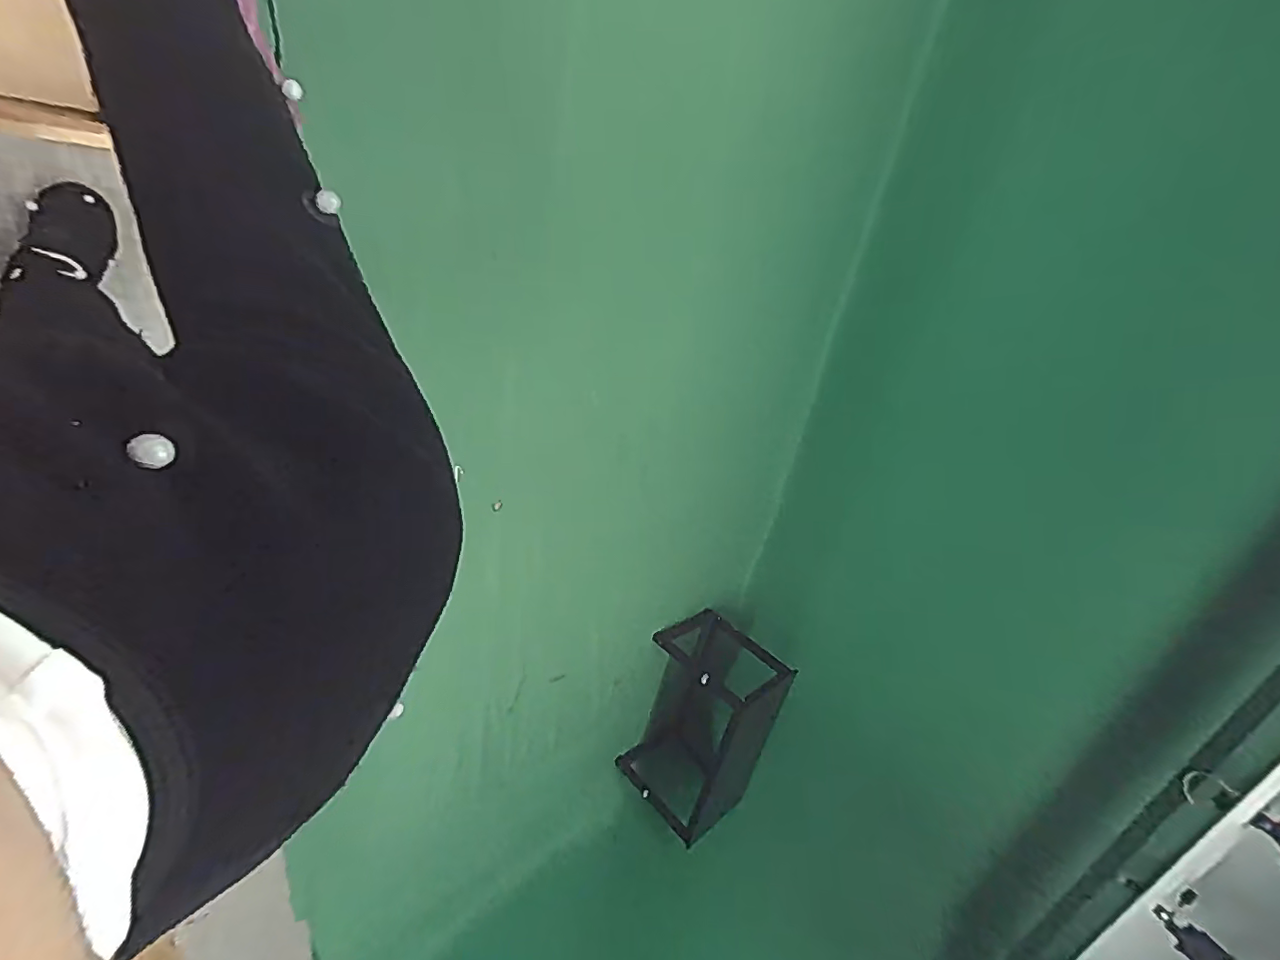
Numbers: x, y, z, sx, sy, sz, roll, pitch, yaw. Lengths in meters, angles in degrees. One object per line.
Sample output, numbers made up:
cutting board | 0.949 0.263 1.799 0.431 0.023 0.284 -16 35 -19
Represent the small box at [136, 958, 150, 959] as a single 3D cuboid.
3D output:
small box | -1.216 1.295 1.279 0.179 0.176 0.168 -40 140 -23
